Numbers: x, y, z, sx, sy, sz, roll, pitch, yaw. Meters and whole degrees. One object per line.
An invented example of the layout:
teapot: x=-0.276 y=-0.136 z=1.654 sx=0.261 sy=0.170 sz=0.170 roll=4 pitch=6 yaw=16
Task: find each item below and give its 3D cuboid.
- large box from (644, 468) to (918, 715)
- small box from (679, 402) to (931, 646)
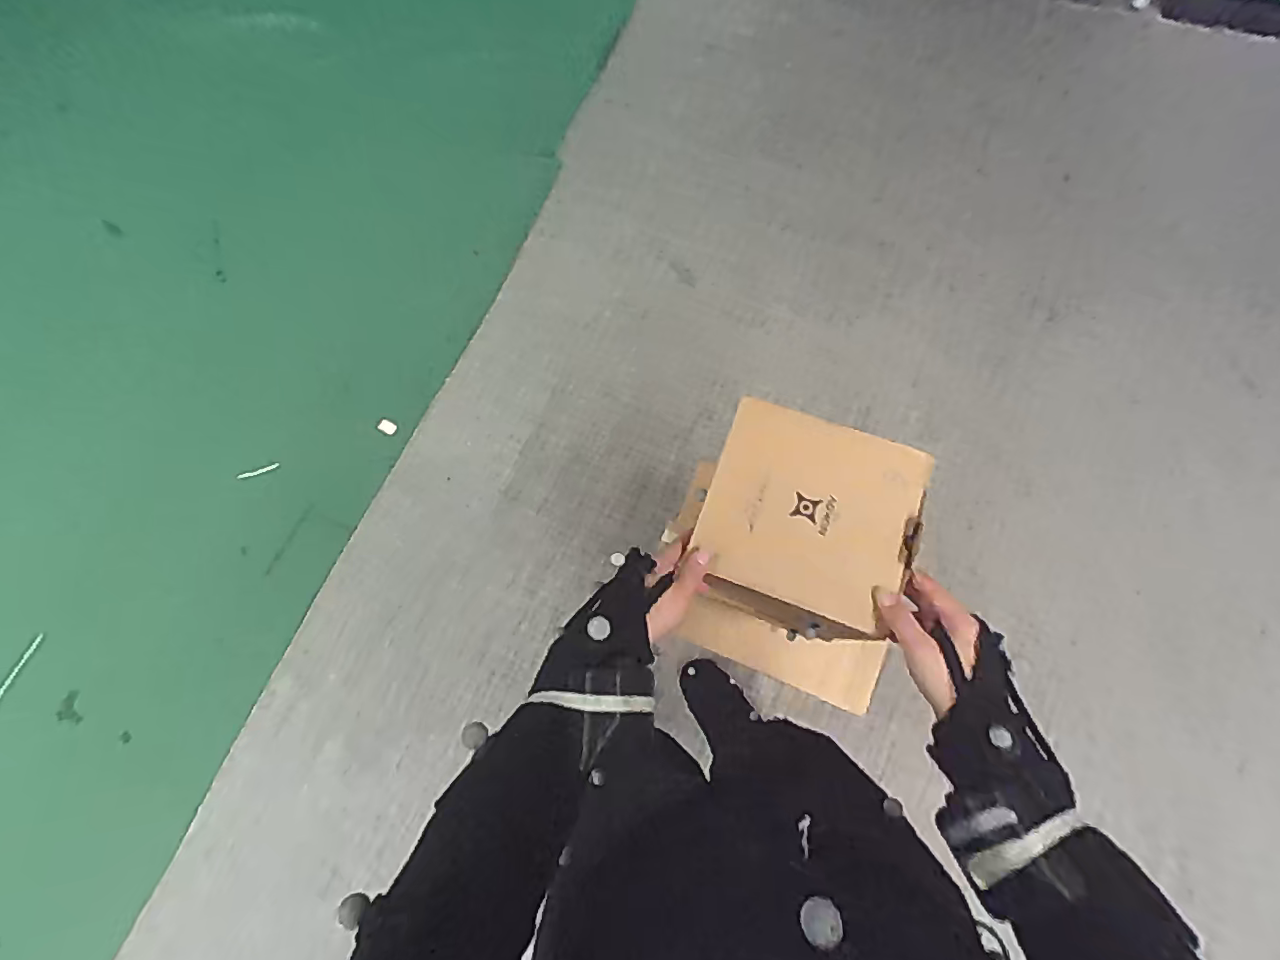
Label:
large box: x=0.256 y=0.215 z=1.082 sx=0.408 sy=0.320 sz=0.320 roll=21 pitch=80 yaw=11
small box: x=0.147 y=0.052 z=0.533 sx=0.179 sy=0.176 sz=0.168 roll=19 pitch=74 yaw=11
